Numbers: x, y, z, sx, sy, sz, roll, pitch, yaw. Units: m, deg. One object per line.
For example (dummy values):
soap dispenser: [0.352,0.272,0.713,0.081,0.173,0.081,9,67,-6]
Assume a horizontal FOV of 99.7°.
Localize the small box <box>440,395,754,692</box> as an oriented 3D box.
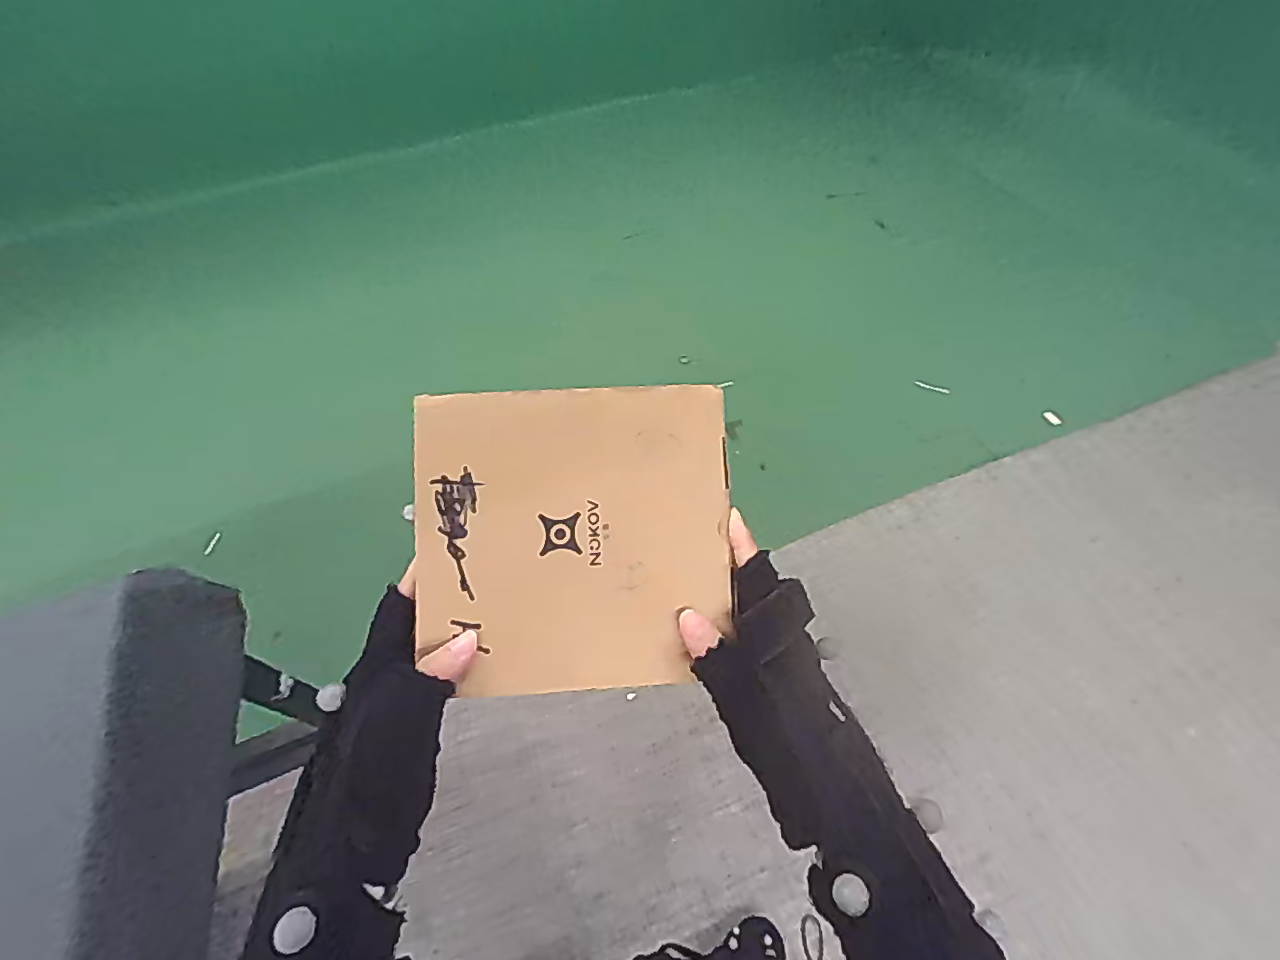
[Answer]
small box: [-0.031,0.041,0.386,0.179,0.176,0.168,-2,82,-4]
